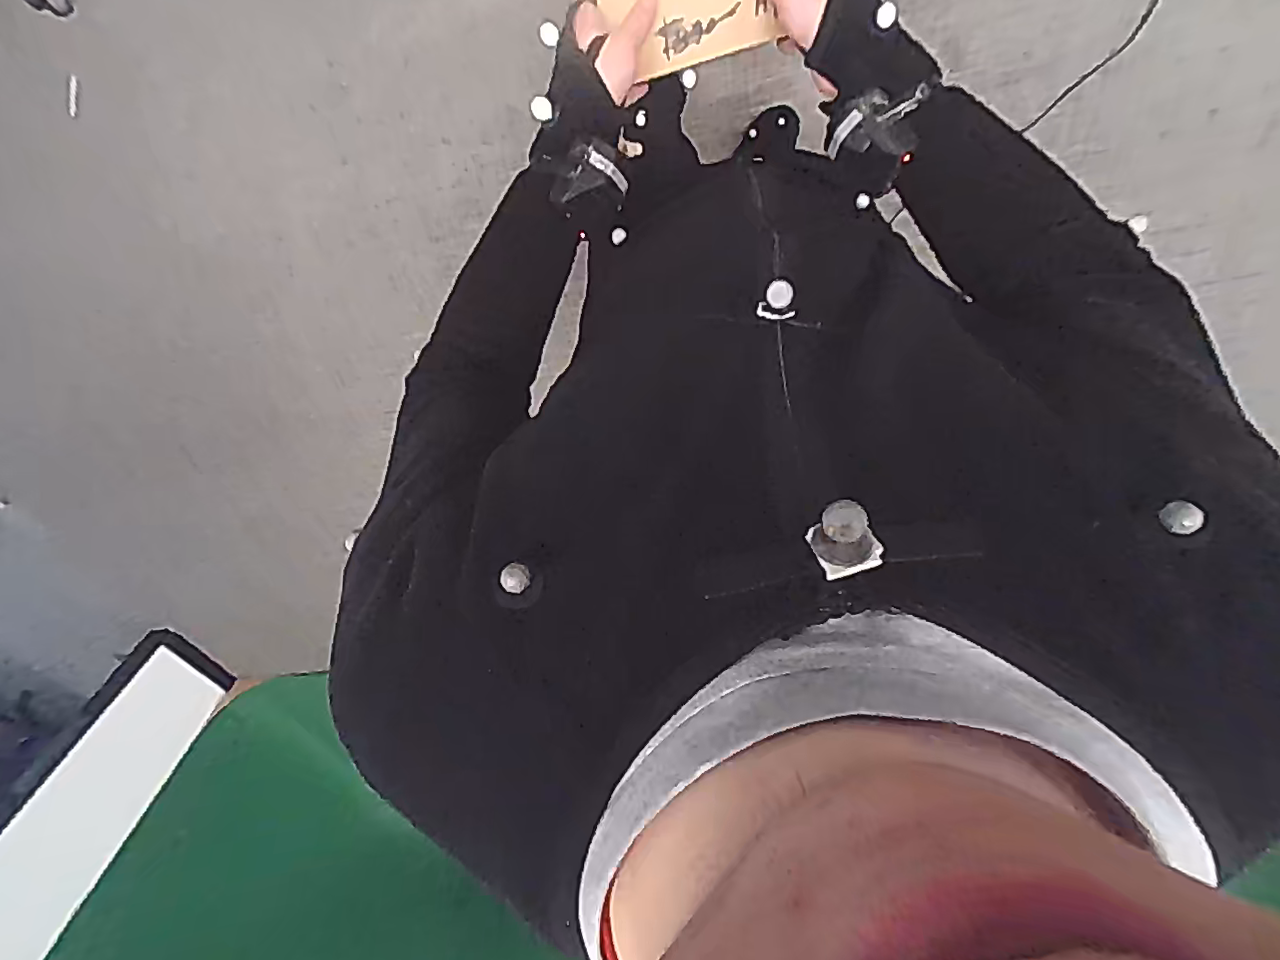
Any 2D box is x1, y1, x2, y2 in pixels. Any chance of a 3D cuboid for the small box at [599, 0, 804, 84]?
[{"bbox_3d":[0.042,-0.476,0.479,0.168,0.176,0.179,-9,126,11],"label":"small box"}]
